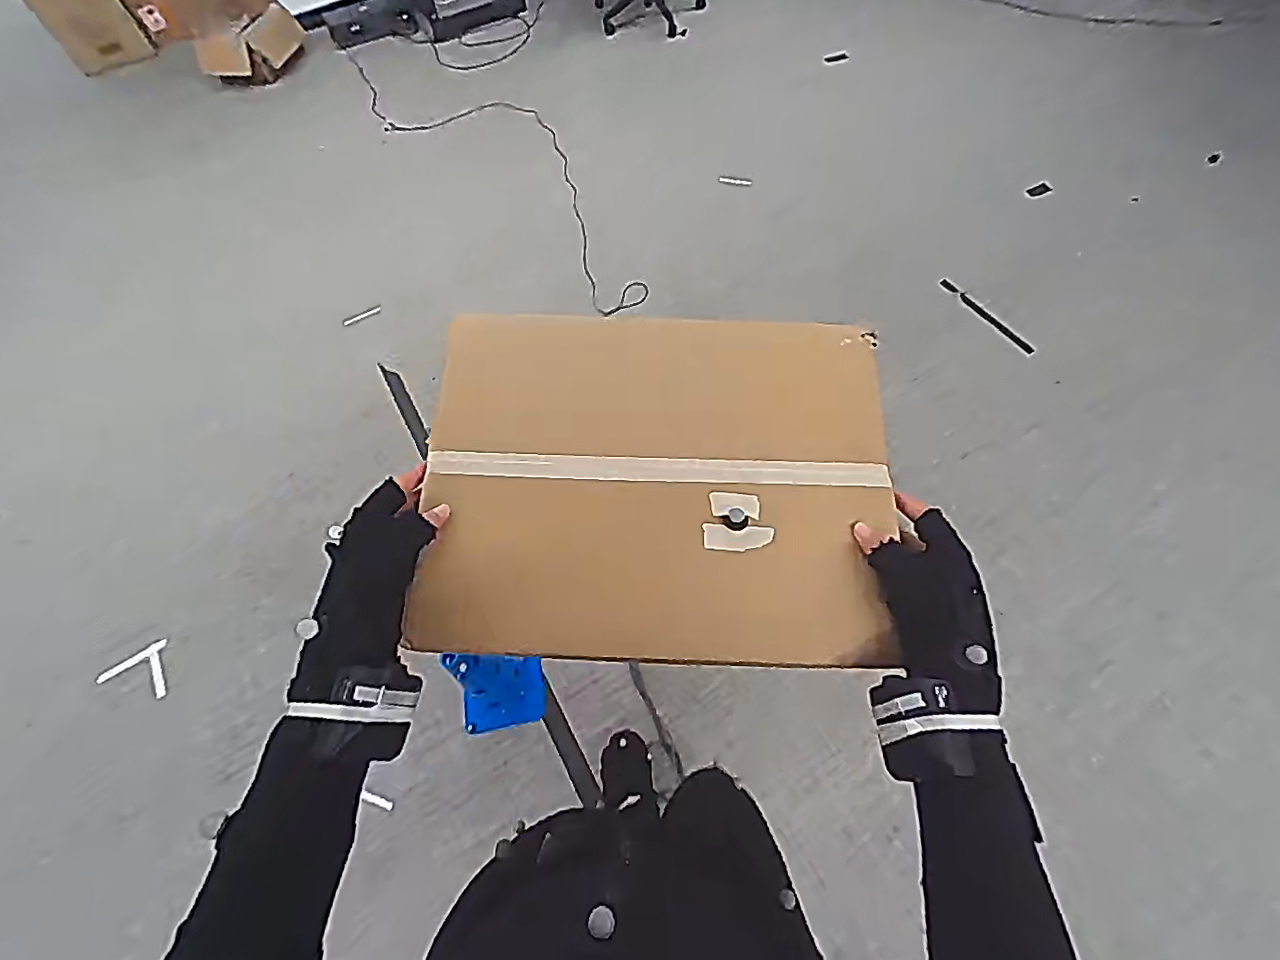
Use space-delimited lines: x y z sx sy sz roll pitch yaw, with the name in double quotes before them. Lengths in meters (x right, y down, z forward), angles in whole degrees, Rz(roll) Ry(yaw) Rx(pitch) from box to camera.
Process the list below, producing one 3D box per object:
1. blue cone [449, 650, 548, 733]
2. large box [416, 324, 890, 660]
"blue cone" -0.348 0.446 1.227 0.193 0.380 0.192 -11 61 -1
"large box" 0.012 0.041 0.635 0.408 0.320 0.320 3 72 1
